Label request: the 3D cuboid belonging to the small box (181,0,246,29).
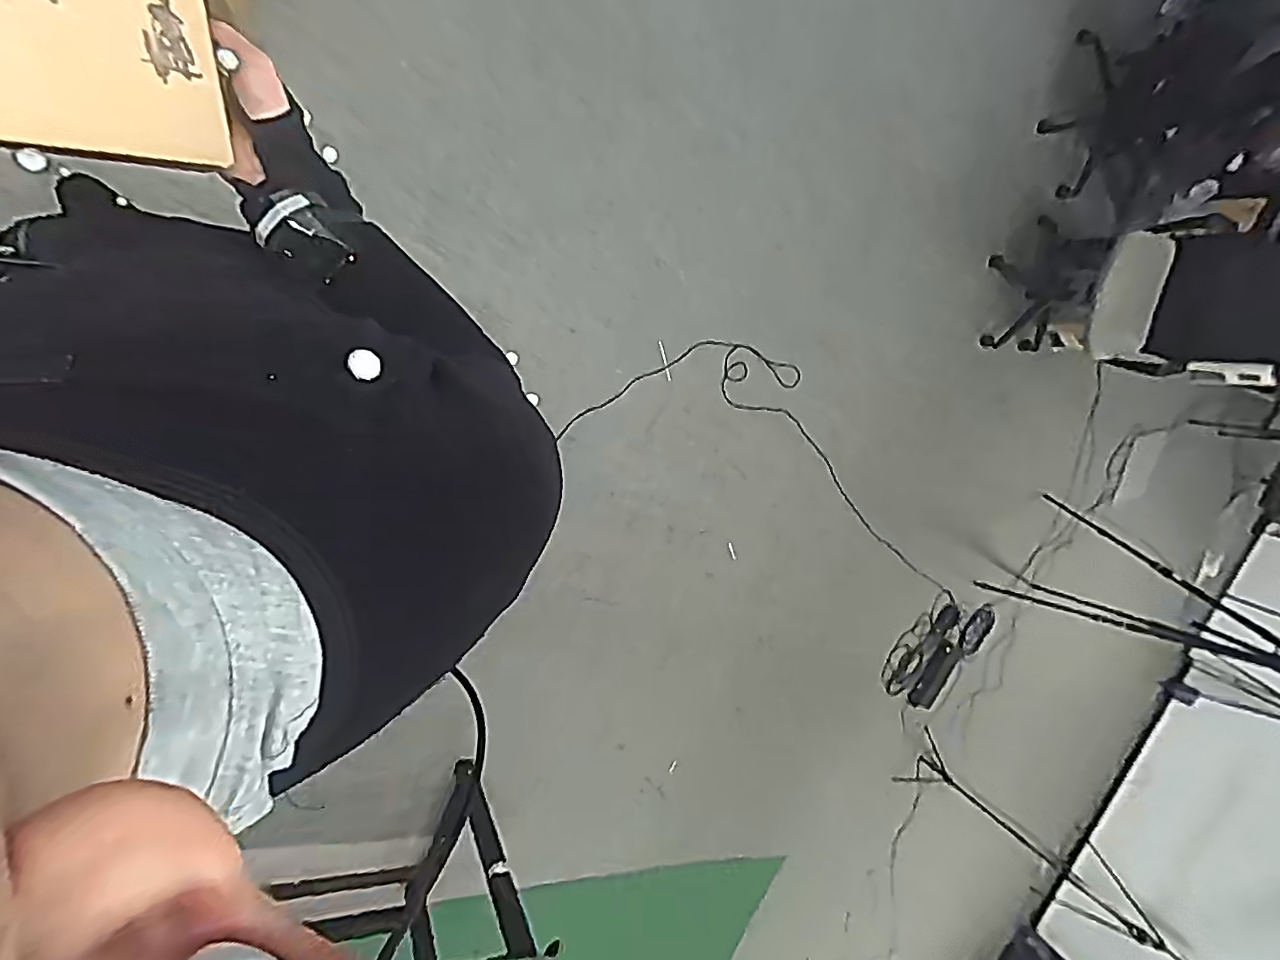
[{"bbox_3d":[-0.802,-0.970,0.961,0.168,0.176,0.179,17,100,-33],"label":"small box"}]
